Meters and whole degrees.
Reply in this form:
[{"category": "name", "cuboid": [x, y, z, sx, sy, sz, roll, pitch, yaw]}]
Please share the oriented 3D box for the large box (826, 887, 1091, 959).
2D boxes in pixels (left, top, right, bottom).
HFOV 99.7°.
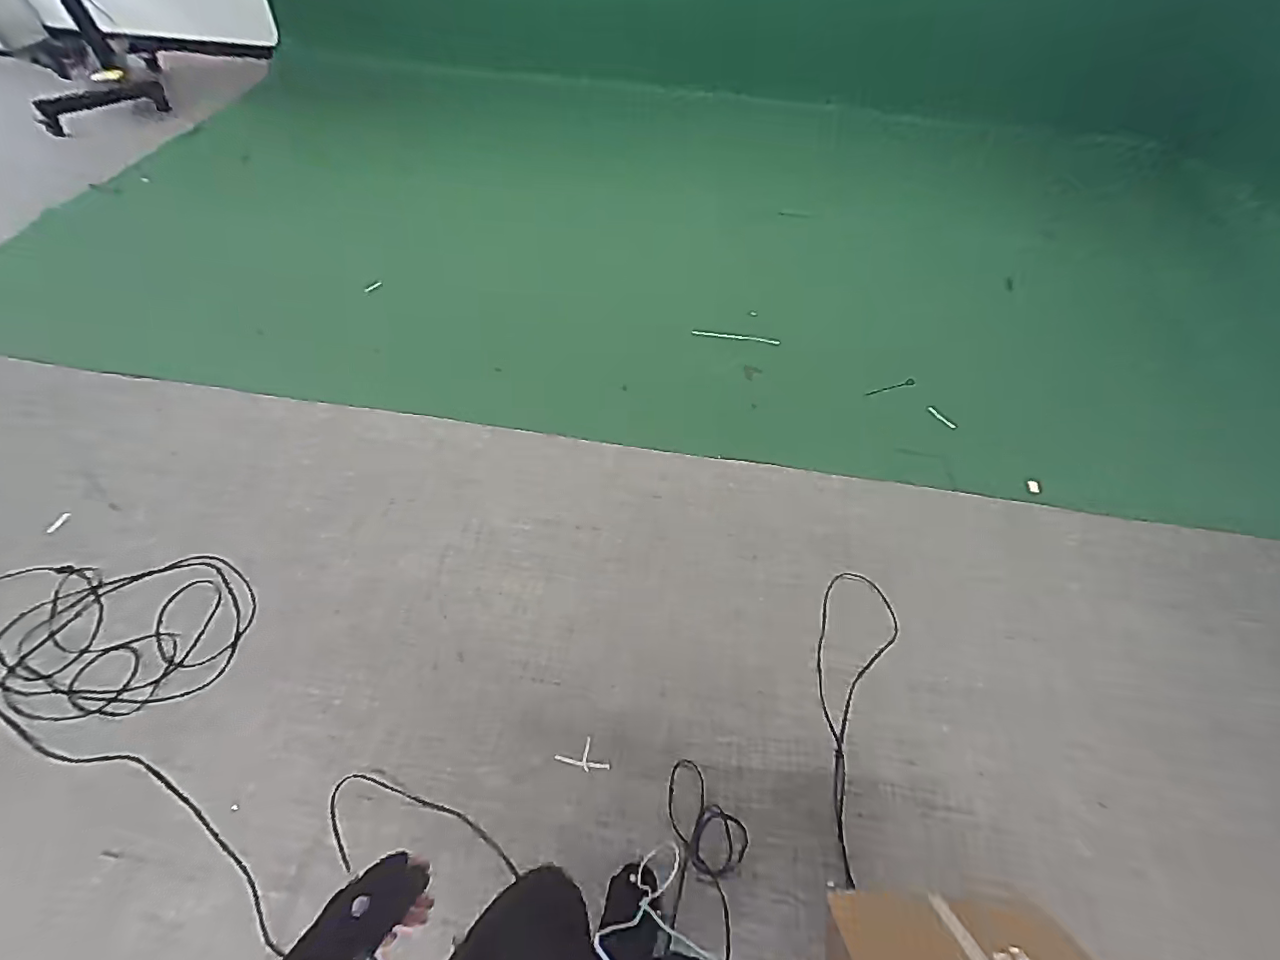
[{"category": "large box", "cuboid": [0.425, 0.759, 0.607, 0.320, 0.408, 0.320, 1, 86, 3]}]
